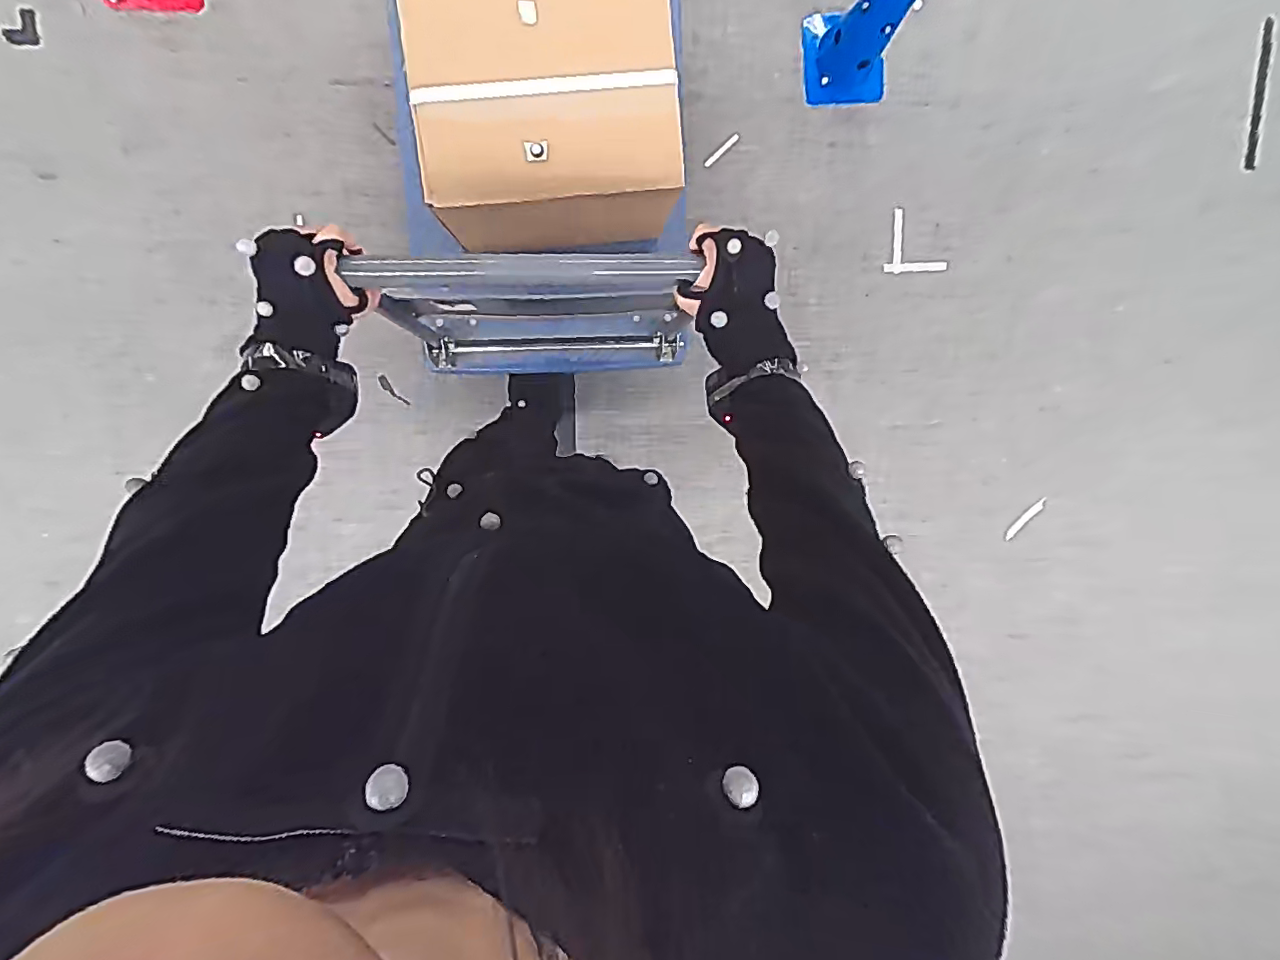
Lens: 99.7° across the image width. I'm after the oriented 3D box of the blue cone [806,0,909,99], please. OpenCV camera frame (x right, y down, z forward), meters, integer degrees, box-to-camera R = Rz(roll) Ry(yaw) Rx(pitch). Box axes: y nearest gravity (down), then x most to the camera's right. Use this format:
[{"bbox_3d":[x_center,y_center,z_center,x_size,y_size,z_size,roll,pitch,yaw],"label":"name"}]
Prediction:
[{"bbox_3d":[0.514,-1.000,1.143,0.193,0.380,0.192,-5,99,-6],"label":"blue cone"}]
